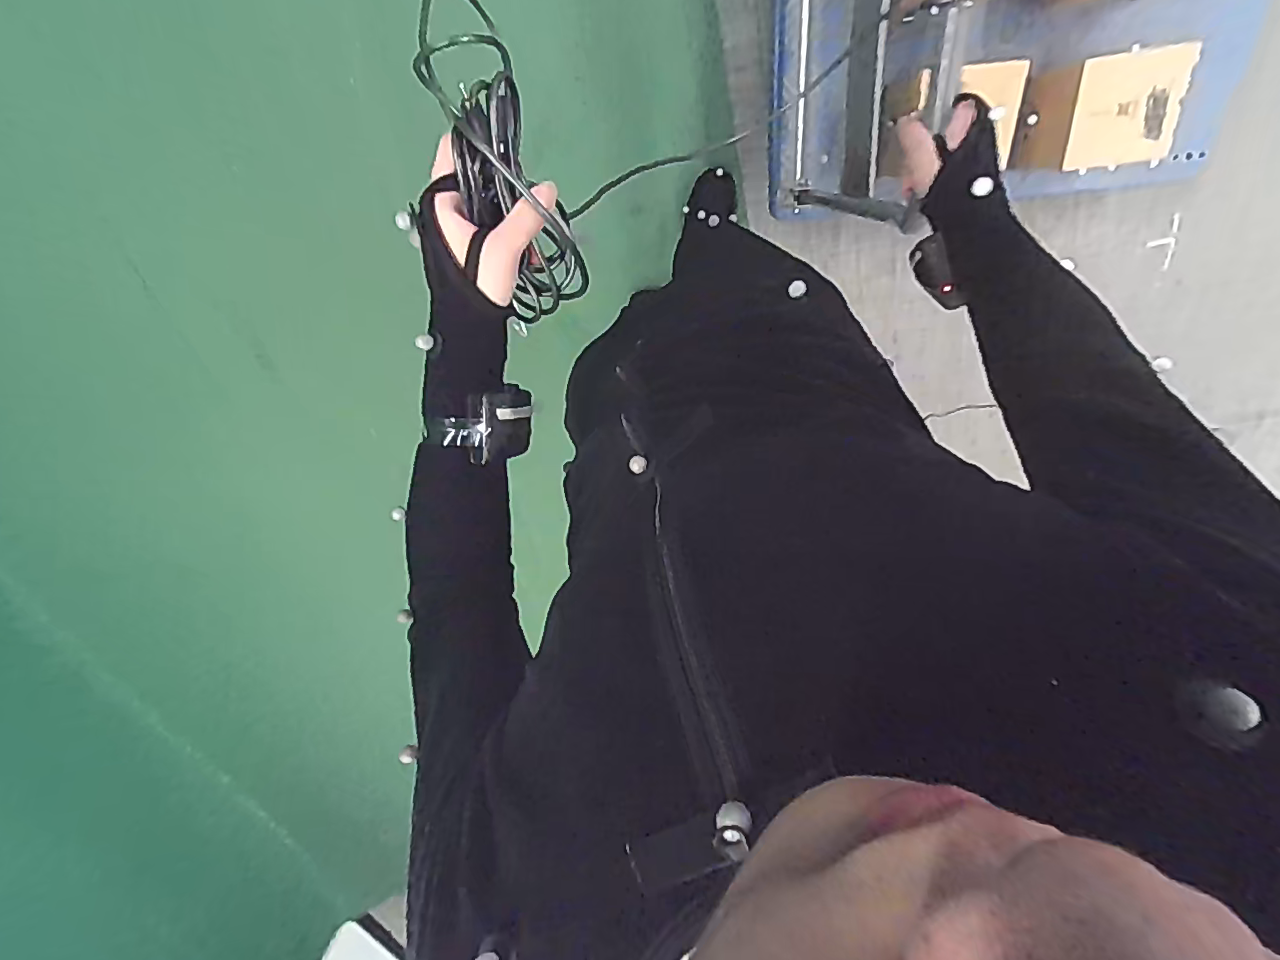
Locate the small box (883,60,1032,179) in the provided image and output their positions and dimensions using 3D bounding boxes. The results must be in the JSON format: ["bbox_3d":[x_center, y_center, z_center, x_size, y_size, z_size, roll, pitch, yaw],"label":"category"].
[{"bbox_3d":[0.581,-0.669,1.016,0.179,0.176,0.168,-2,119,7],"label":"small box"}]

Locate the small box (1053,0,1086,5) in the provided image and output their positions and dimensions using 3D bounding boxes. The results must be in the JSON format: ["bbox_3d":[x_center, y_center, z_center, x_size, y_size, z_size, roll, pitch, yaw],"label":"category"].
[{"bbox_3d":[0.806,-0.896,0.862,0.179,0.176,0.168,-6,120,9],"label":"small box"}]

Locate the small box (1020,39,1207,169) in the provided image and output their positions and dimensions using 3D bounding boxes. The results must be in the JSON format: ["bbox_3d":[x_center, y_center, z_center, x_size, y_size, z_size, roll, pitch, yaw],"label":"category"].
[{"bbox_3d":[0.844,-0.674,0.987,0.179,0.176,0.168,-4,119,9],"label":"small box"}]
